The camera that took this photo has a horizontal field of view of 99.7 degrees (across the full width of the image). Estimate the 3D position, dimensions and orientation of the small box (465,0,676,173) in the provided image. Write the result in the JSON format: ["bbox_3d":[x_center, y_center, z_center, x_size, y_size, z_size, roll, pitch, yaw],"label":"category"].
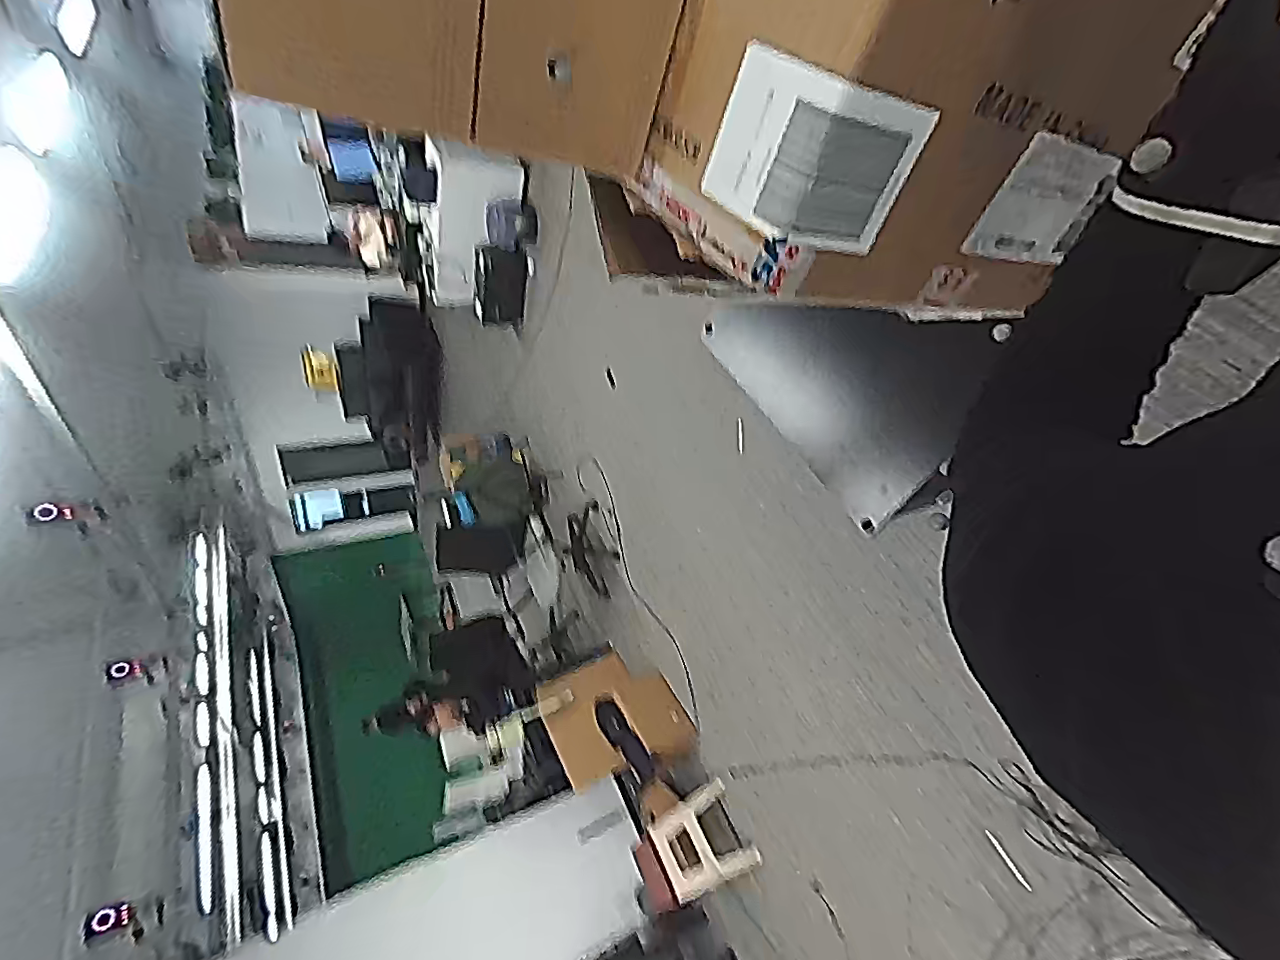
[{"bbox_3d":[-0.086,-0.408,0.496,0.168,0.176,0.179,59,143,36],"label":"small box"}]

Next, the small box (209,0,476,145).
[{"bbox_3d":[-0.225,-0.388,0.413,0.168,0.176,0.179,58,143,39],"label":"small box"}]
